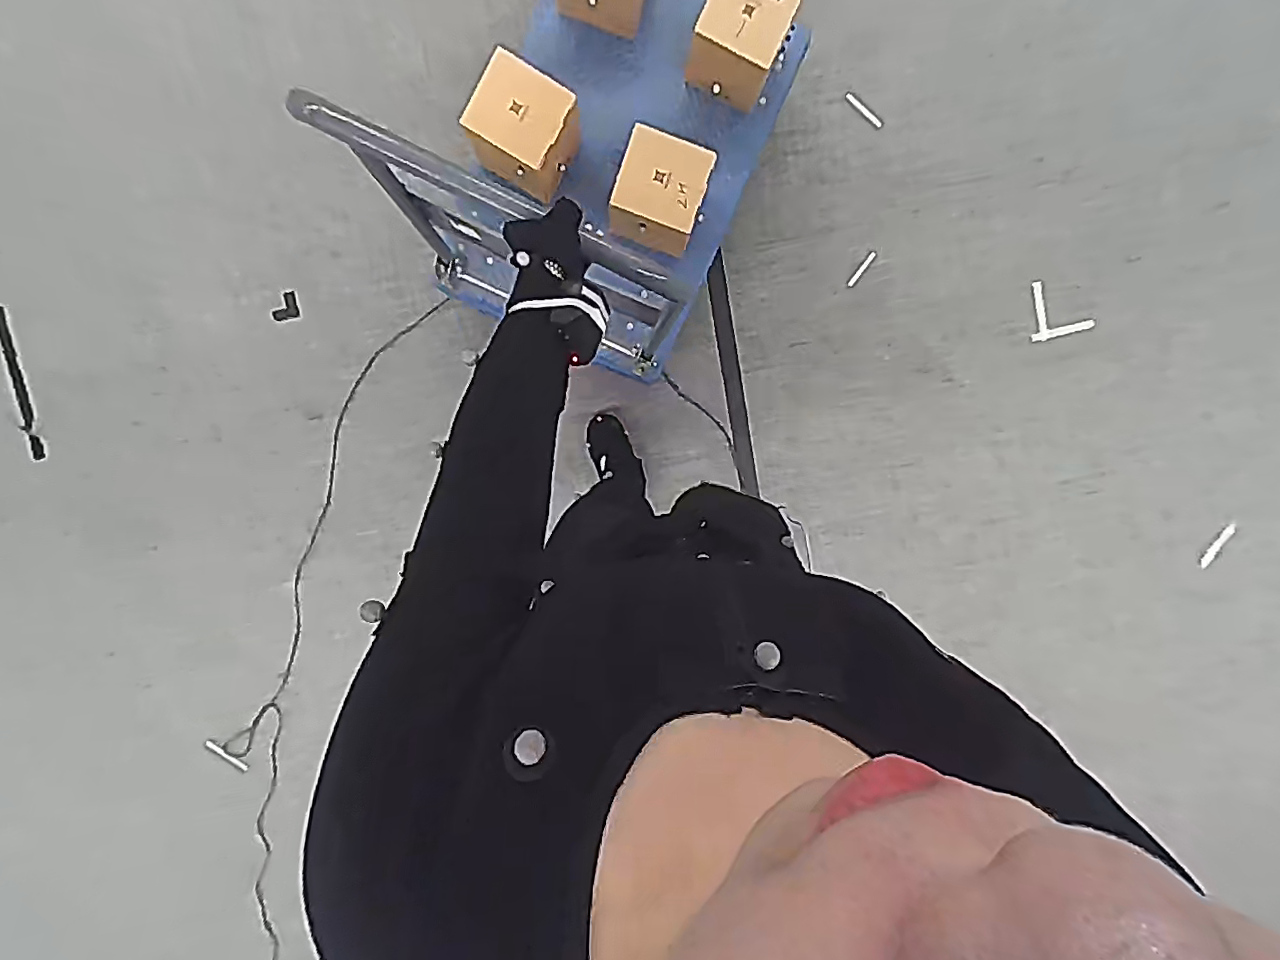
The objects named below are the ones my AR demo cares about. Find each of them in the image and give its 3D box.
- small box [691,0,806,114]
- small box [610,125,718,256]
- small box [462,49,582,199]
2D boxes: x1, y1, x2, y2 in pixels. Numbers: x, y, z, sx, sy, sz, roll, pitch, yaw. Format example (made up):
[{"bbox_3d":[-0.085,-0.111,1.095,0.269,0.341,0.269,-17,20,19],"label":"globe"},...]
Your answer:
[{"bbox_3d":[0.216,-0.917,1.121,0.168,0.176,0.179,25,96,-4],"label":"small box"},{"bbox_3d":[0.045,-0.603,1.152,0.179,0.176,0.168,20,96,-4],"label":"small box"},{"bbox_3d":[-0.236,-0.725,1.127,0.179,0.176,0.168,29,94,-6],"label":"small box"}]
